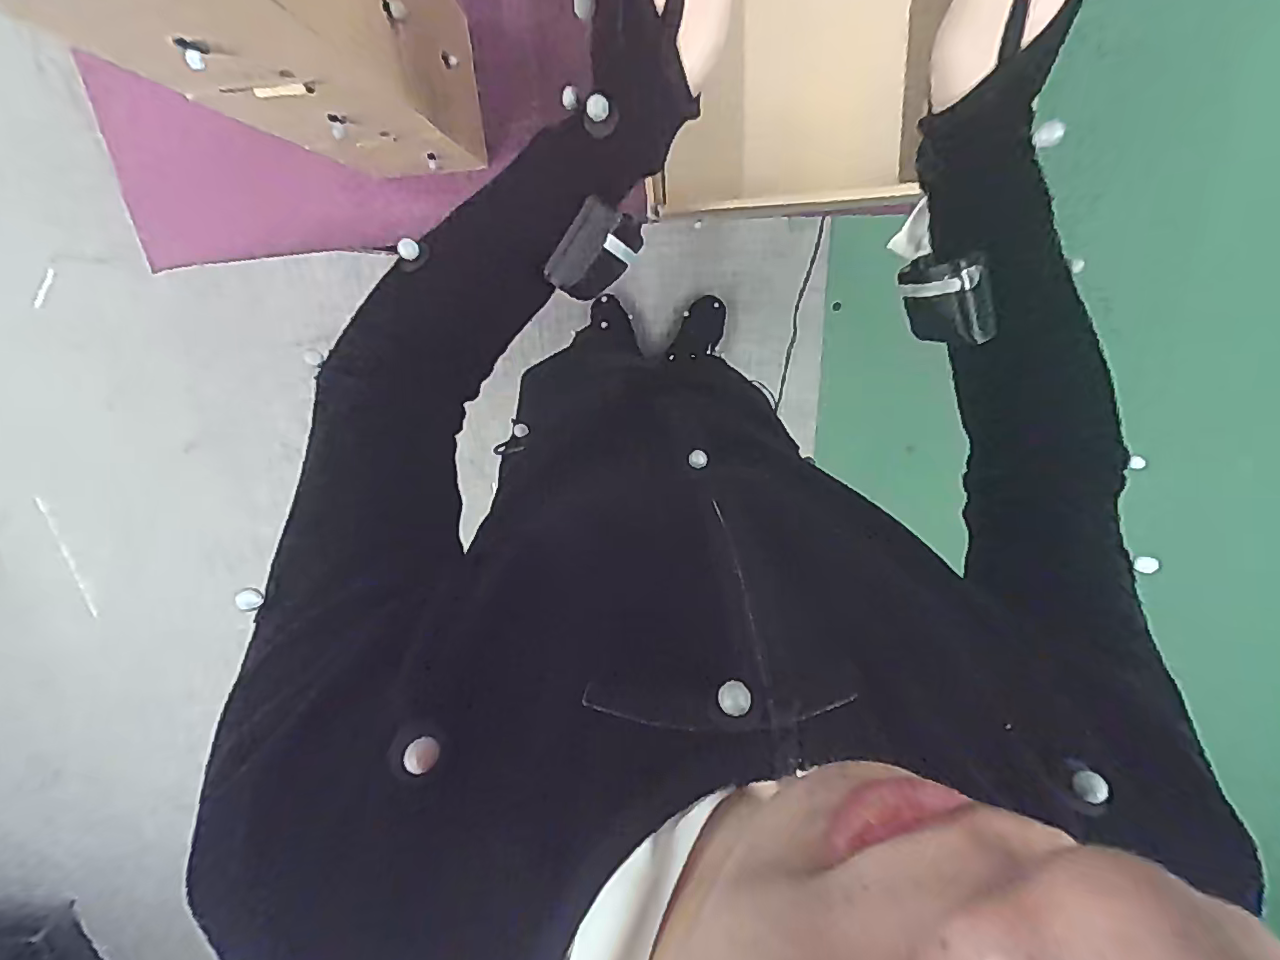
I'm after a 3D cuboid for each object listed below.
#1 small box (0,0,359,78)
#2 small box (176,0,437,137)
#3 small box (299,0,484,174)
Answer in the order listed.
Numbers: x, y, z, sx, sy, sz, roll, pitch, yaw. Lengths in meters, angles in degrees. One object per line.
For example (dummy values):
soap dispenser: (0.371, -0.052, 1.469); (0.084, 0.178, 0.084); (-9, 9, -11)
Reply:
small box: (-0.306, -0.379, 0.337); (0.168, 0.176, 0.179); (-2, 108, 1)
small box: (-0.304, -0.432, 0.494); (0.168, 0.176, 0.179); (-4, 109, 2)
small box: (-0.300, -0.482, 0.650); (0.168, 0.176, 0.179); (-3, 108, 2)
